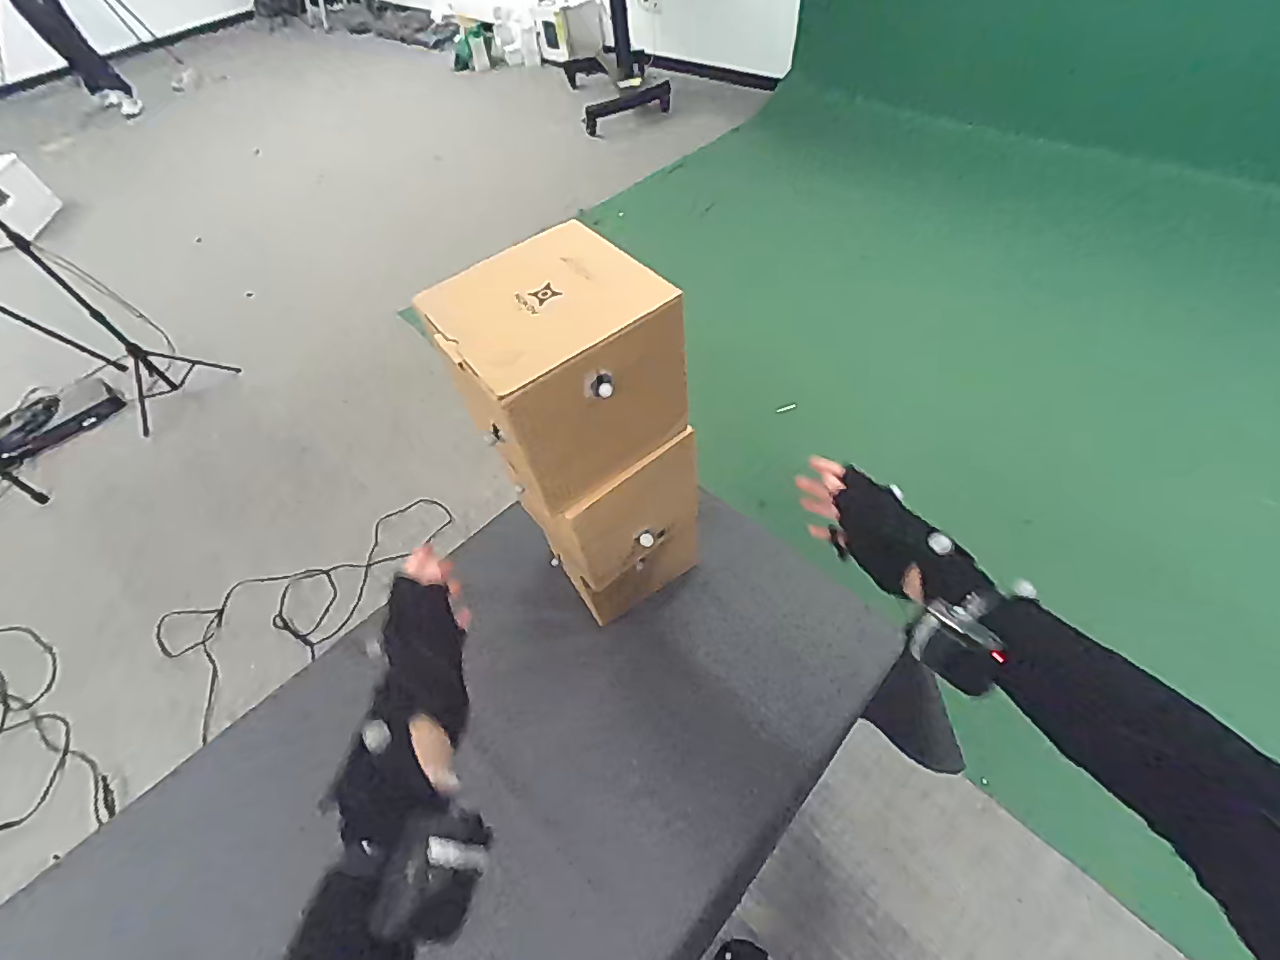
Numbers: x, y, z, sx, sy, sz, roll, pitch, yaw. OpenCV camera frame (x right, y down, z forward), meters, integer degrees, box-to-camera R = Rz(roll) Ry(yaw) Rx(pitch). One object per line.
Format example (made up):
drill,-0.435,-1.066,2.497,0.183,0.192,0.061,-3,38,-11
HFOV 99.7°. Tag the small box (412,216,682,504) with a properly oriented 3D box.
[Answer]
small box,-0.074,-0.108,0.512,0.179,0.176,0.168,-34,58,-16

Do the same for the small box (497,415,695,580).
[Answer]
small box,-0.052,-0.014,0.643,0.168,0.176,0.179,-36,58,-17

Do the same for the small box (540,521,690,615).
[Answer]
small box,-0.039,0.066,0.786,0.179,0.176,0.168,-30,56,-14
